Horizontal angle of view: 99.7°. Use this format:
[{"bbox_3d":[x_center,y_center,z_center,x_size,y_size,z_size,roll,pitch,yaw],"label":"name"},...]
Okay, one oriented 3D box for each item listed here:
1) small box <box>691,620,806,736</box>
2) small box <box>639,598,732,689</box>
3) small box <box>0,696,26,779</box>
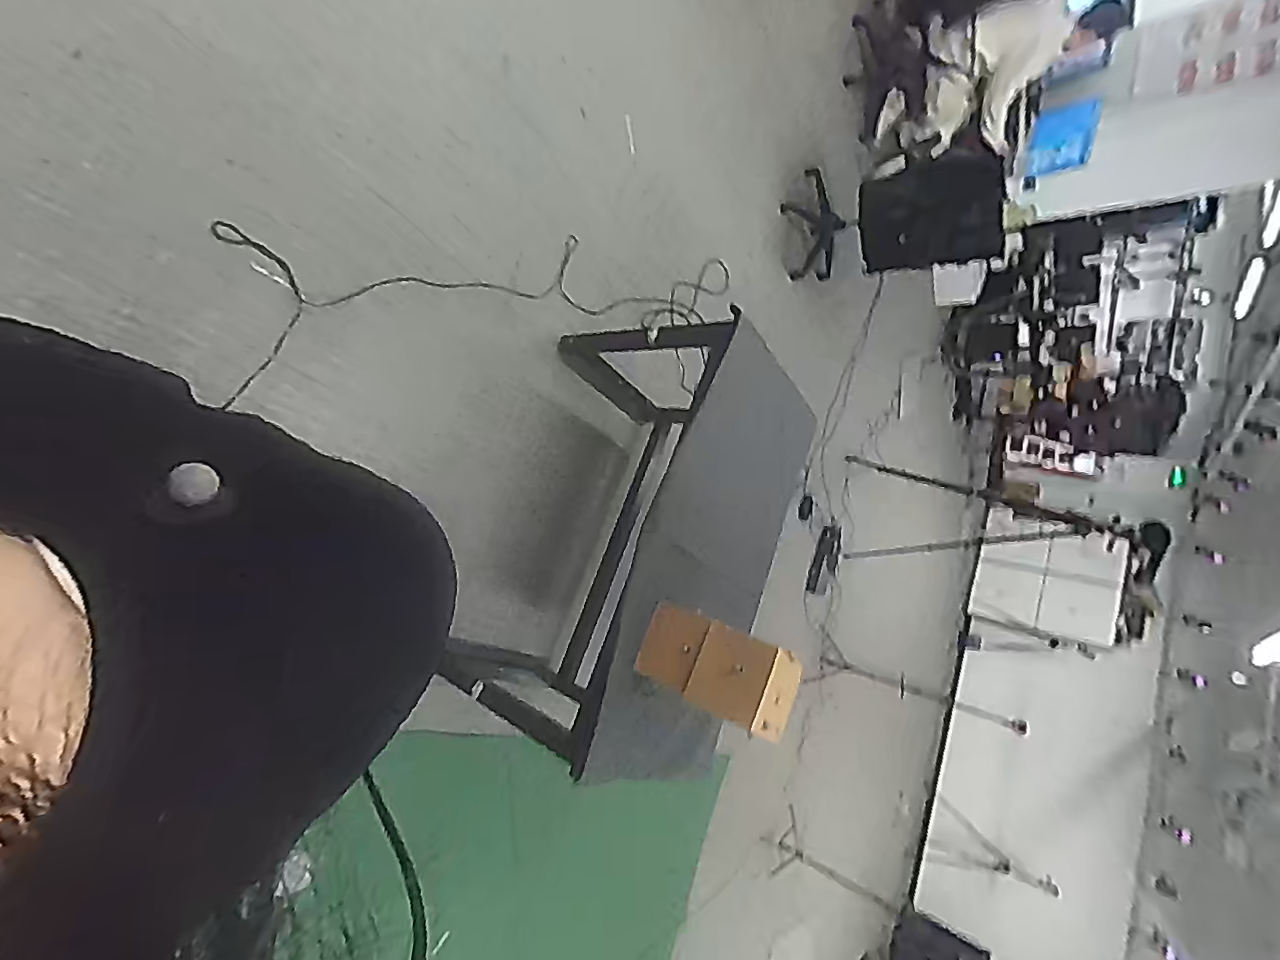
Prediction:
[{"bbox_3d":[0.234,0.424,1.173,0.168,0.176,0.179,43,64,-44],"label":"small box"},{"bbox_3d":[0.124,0.400,1.293,0.168,0.176,0.179,39,68,-45],"label":"small box"},{"bbox_3d":[-1.023,0.401,0.750,0.179,0.176,0.168,38,68,-46],"label":"small box"}]
